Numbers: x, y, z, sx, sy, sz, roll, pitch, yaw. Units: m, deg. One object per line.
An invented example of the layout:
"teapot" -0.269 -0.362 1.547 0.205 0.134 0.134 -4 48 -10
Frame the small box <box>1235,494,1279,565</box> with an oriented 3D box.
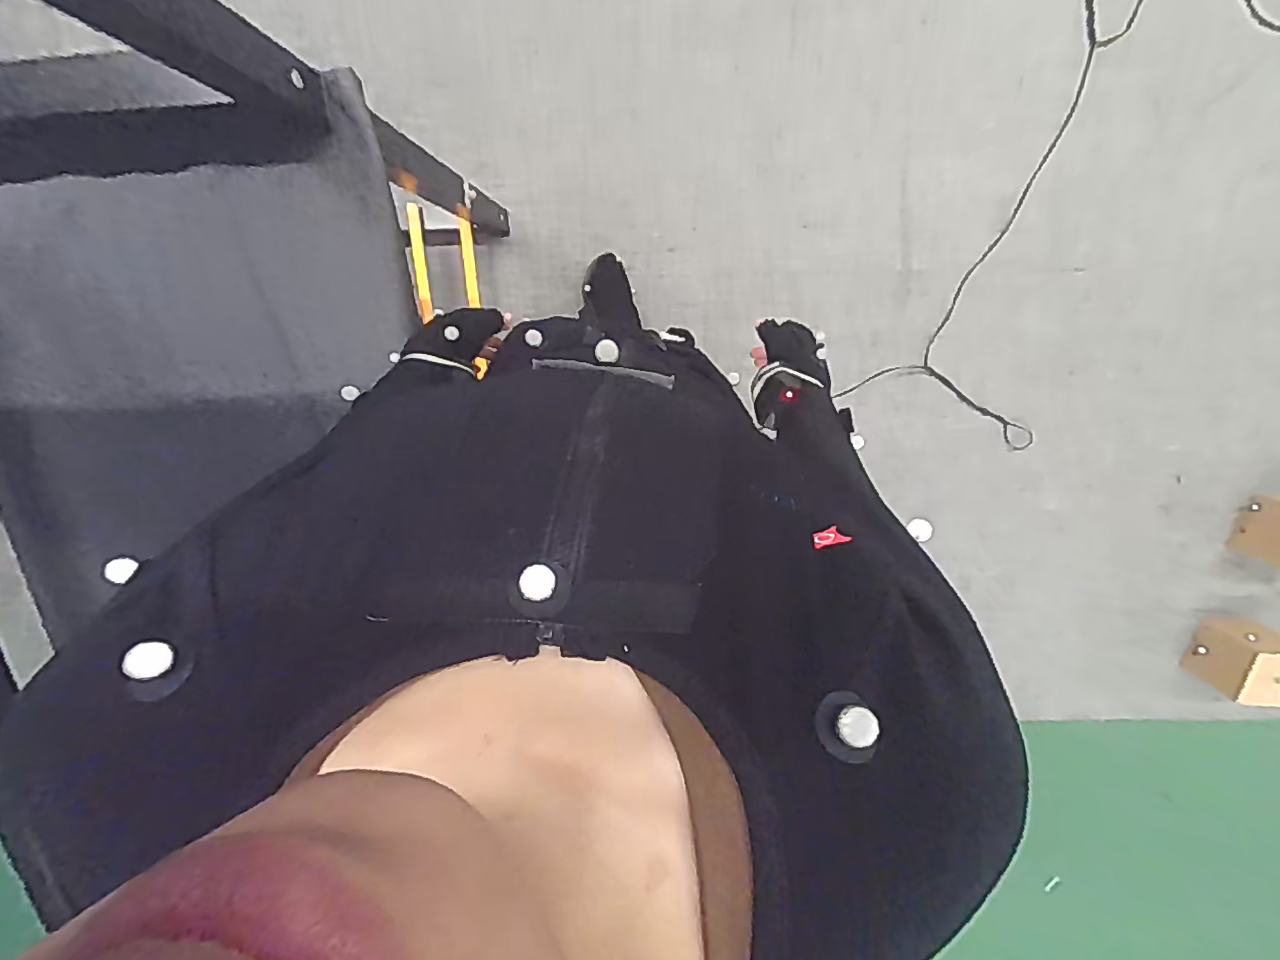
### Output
"small box" 1.737 0.143 1.405 0.179 0.176 0.168 6 108 -1
